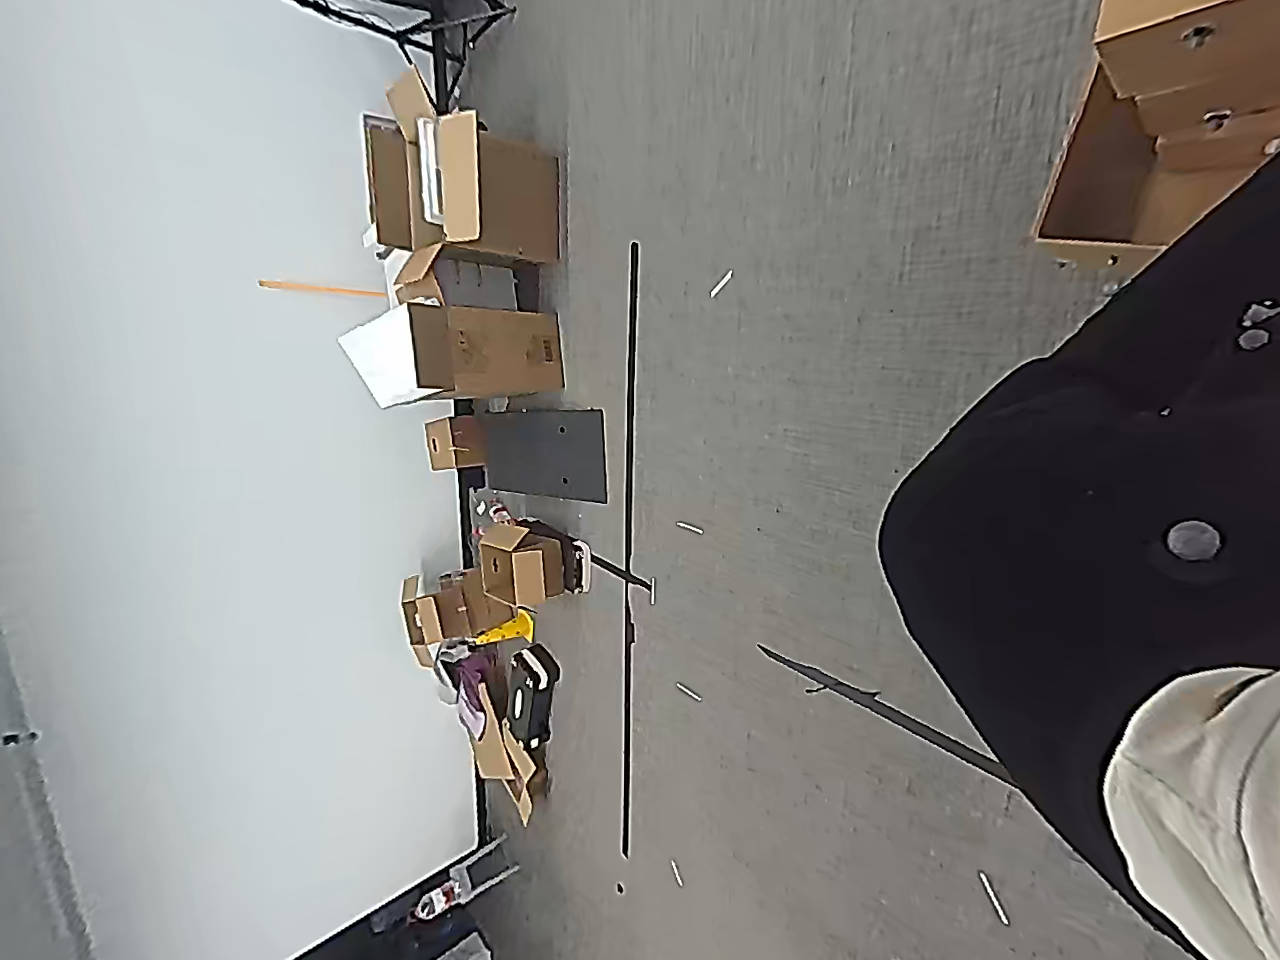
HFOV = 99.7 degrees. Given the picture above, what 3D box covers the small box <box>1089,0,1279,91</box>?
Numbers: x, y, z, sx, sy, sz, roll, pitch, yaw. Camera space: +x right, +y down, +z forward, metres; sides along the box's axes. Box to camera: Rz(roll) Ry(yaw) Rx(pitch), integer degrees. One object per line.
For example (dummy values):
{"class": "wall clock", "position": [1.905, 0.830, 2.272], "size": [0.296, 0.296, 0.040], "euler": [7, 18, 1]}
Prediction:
{"class": "small box", "position": [0.584, -0.518, 0.528], "size": [0.179, 0.176, 0.168], "euler": [17, 110, 46]}
